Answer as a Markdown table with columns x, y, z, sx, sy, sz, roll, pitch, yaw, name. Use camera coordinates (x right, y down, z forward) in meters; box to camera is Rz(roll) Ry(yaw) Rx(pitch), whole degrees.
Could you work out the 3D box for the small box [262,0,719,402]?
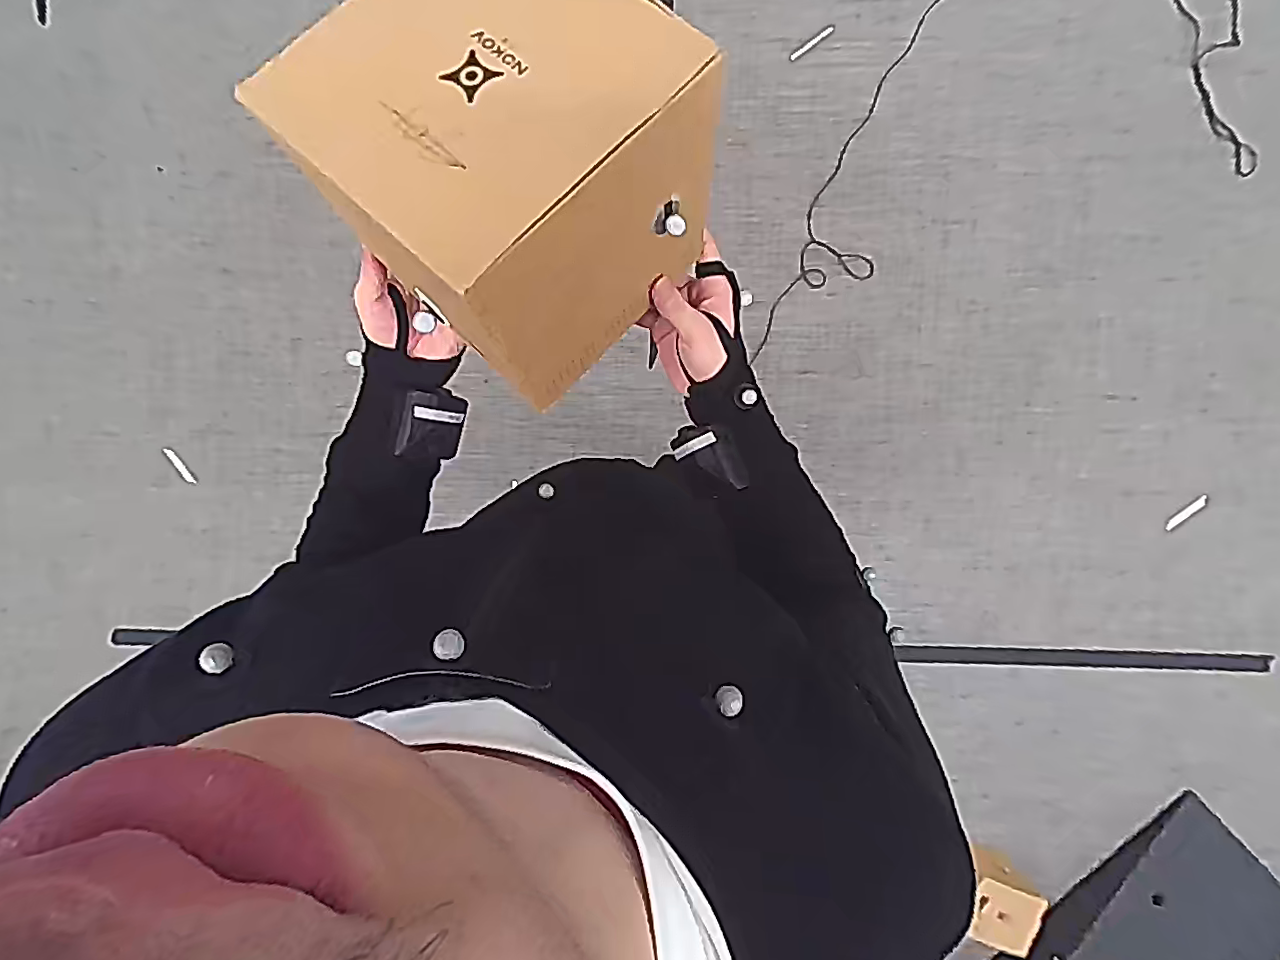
| x | y | z | sx | sy | sz | roll | pitch | yaw | name |
| --- | --- | --- | --- | --- | --- | --- | --- | --- | --- |
| -0.073 | -0.182 | 0.349 | 0.168 | 0.176 | 0.179 | 42 | 85 | 10 | small box |
